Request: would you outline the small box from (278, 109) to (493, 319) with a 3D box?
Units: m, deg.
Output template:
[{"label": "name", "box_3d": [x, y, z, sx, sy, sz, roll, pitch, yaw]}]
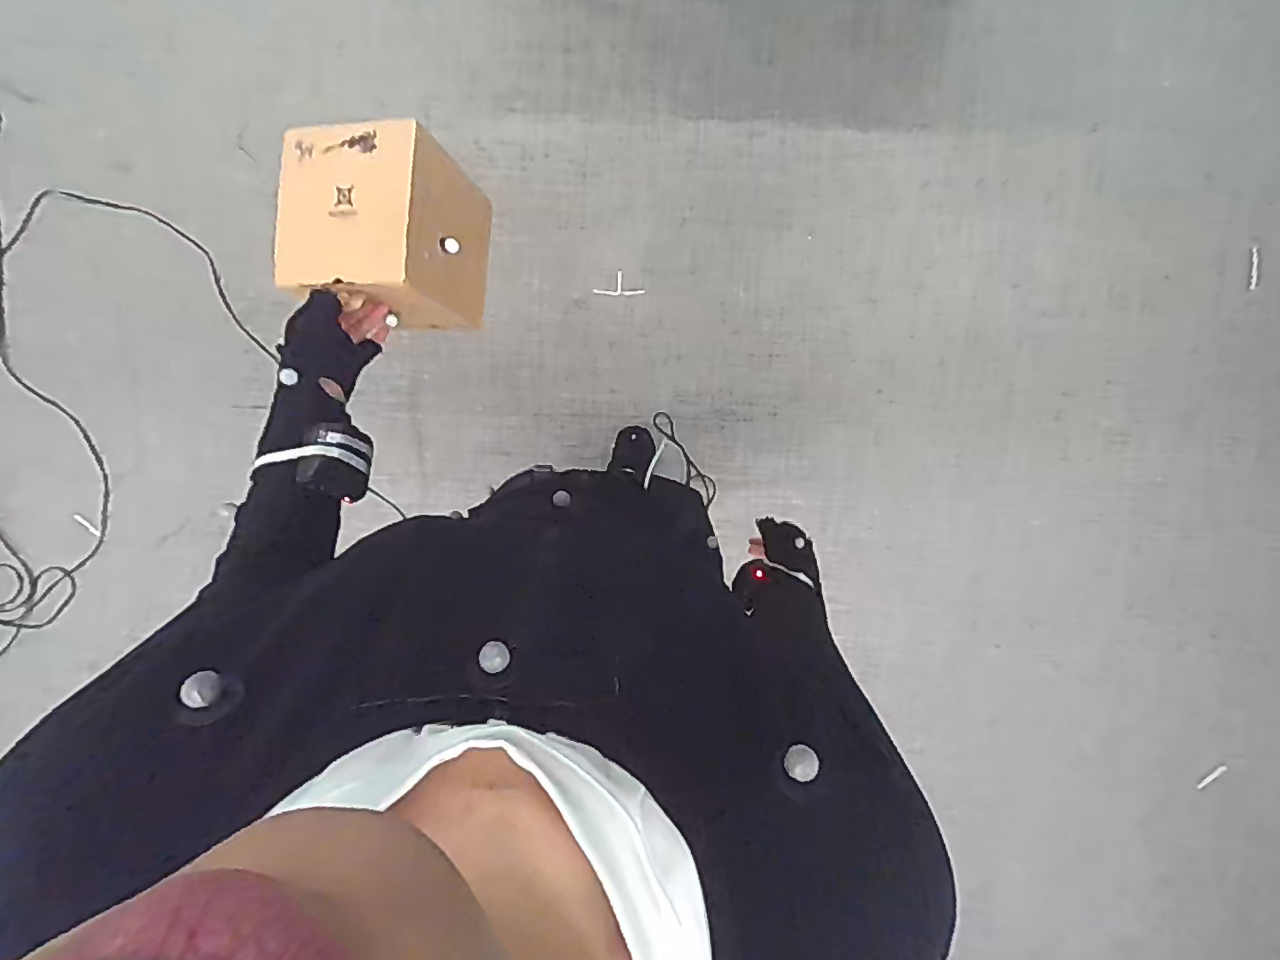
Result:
[{"label": "small box", "box_3d": [-0.292, -0.301, 0.650, 0.168, 0.176, 0.179, 5, 91, 12]}]
